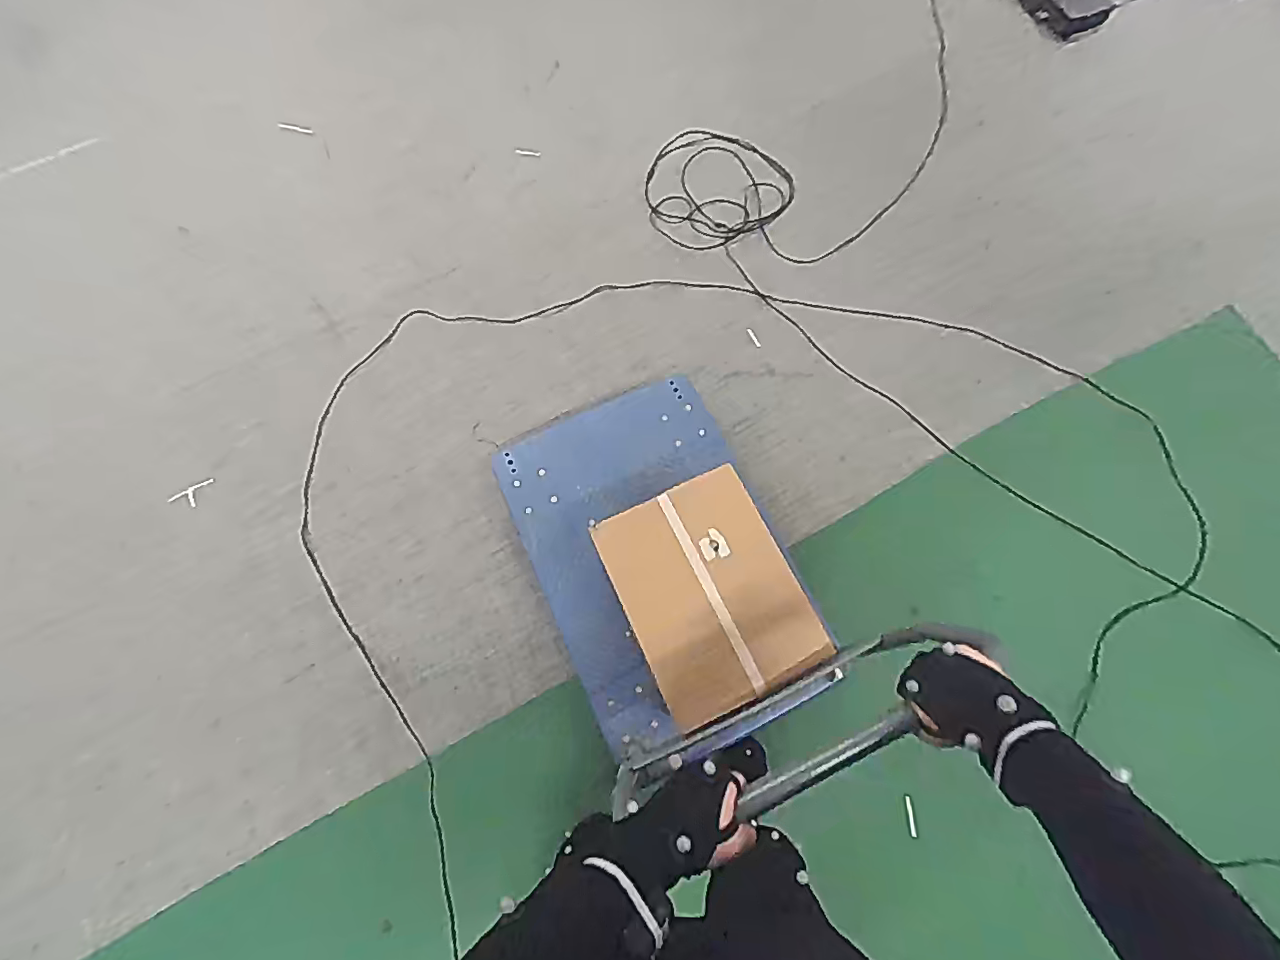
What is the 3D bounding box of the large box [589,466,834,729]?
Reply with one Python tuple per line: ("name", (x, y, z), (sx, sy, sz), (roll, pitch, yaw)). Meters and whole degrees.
("large box", (0.129, 0.249, 1.146), (0.320, 0.320, 0.408), (-25, 72, -8))
